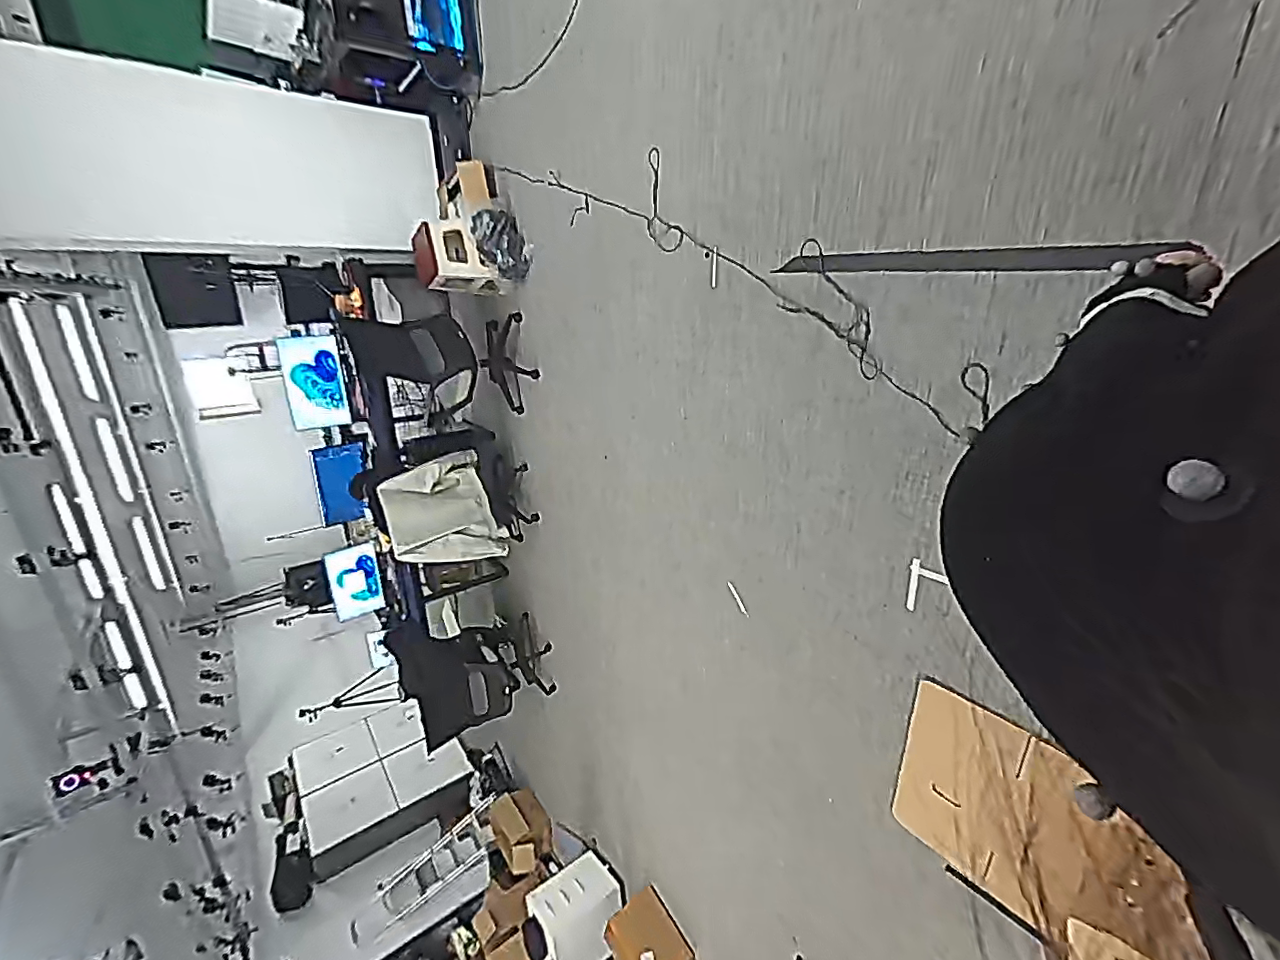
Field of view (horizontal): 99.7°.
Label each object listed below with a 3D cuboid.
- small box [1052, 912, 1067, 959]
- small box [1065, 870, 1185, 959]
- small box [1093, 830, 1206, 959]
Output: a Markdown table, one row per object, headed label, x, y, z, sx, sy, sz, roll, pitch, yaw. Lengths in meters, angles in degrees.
| label | x | y | z | sx | sy | sz | roll | pitch | yaw |
| --- | --- | --- | --- | --- | --- | --- | --- | --- | --- |
| small box | 1.154 | 1.214 | 1.348 | 0.168 | 0.176 | 0.179 | 10 | 110 | 51 |
| small box | 1.030 | 0.996 | 1.147 | 0.168 | 0.176 | 0.179 | 3 | 105 | 51 |
| small box | 1.163 | 0.956 | 1.236 | 0.168 | 0.176 | 0.179 | 3 | 104 | 53 |
